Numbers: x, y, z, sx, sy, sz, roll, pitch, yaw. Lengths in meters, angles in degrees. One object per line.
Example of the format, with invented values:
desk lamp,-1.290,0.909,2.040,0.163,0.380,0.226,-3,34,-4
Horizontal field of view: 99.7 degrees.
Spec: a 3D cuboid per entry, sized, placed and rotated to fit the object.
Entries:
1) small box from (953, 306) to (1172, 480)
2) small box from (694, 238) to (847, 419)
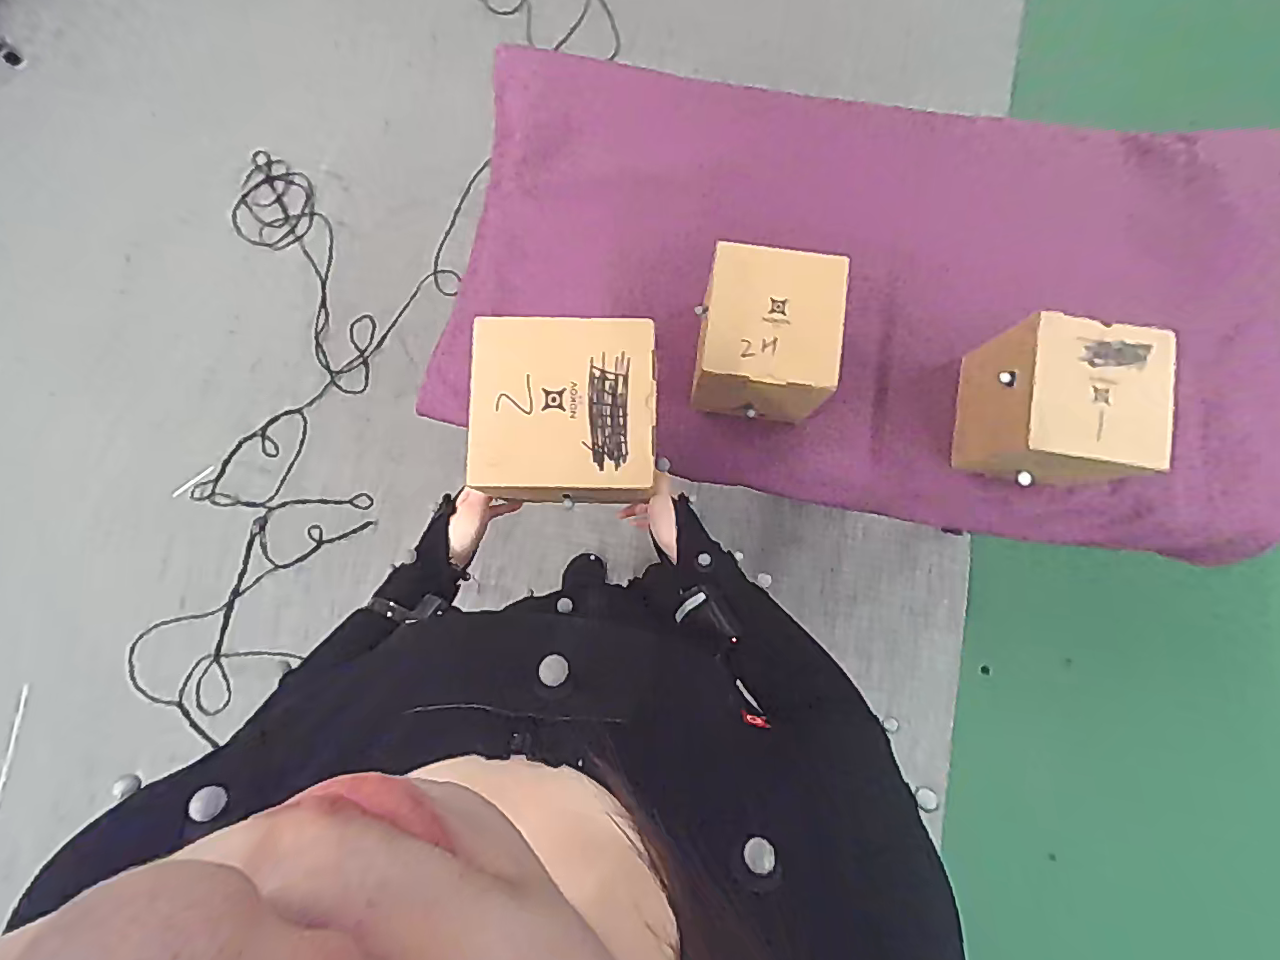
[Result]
small box,0.551,-0.106,0.727,0.168,0.176,0.179,9,84,2
small box,0.168,-0.197,0.741,0.168,0.176,0.179,7,82,3
